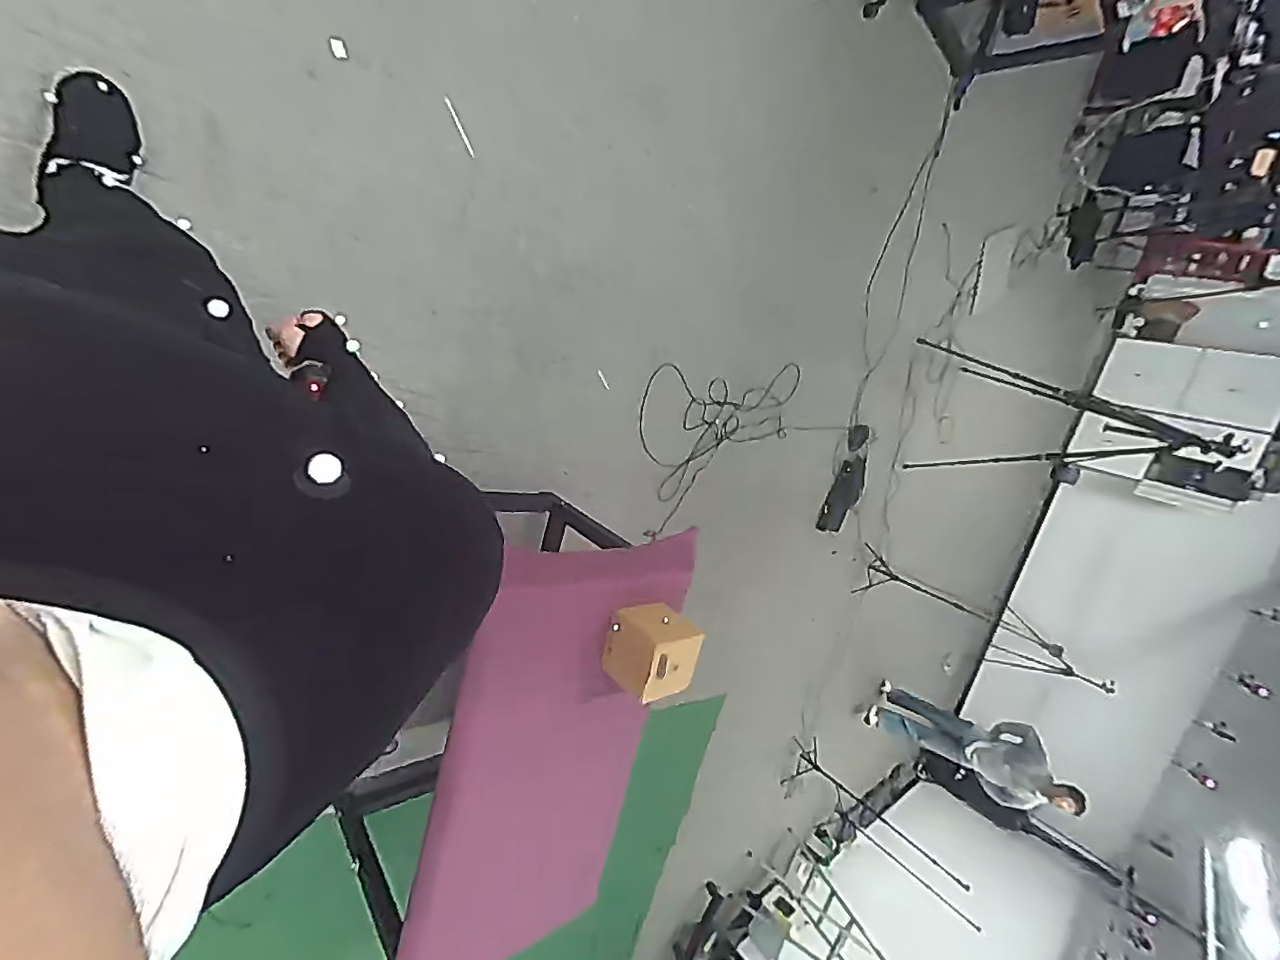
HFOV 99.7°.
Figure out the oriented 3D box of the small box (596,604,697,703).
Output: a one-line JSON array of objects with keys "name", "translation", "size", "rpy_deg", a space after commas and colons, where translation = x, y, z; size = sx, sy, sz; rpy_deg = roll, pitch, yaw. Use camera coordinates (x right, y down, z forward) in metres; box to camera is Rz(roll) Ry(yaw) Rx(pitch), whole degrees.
[{"name": "small box", "translation": [0.013, 0.437, 1.391], "size": [0.179, 0.176, 0.168], "rpy_deg": [3, 107, -45]}]
